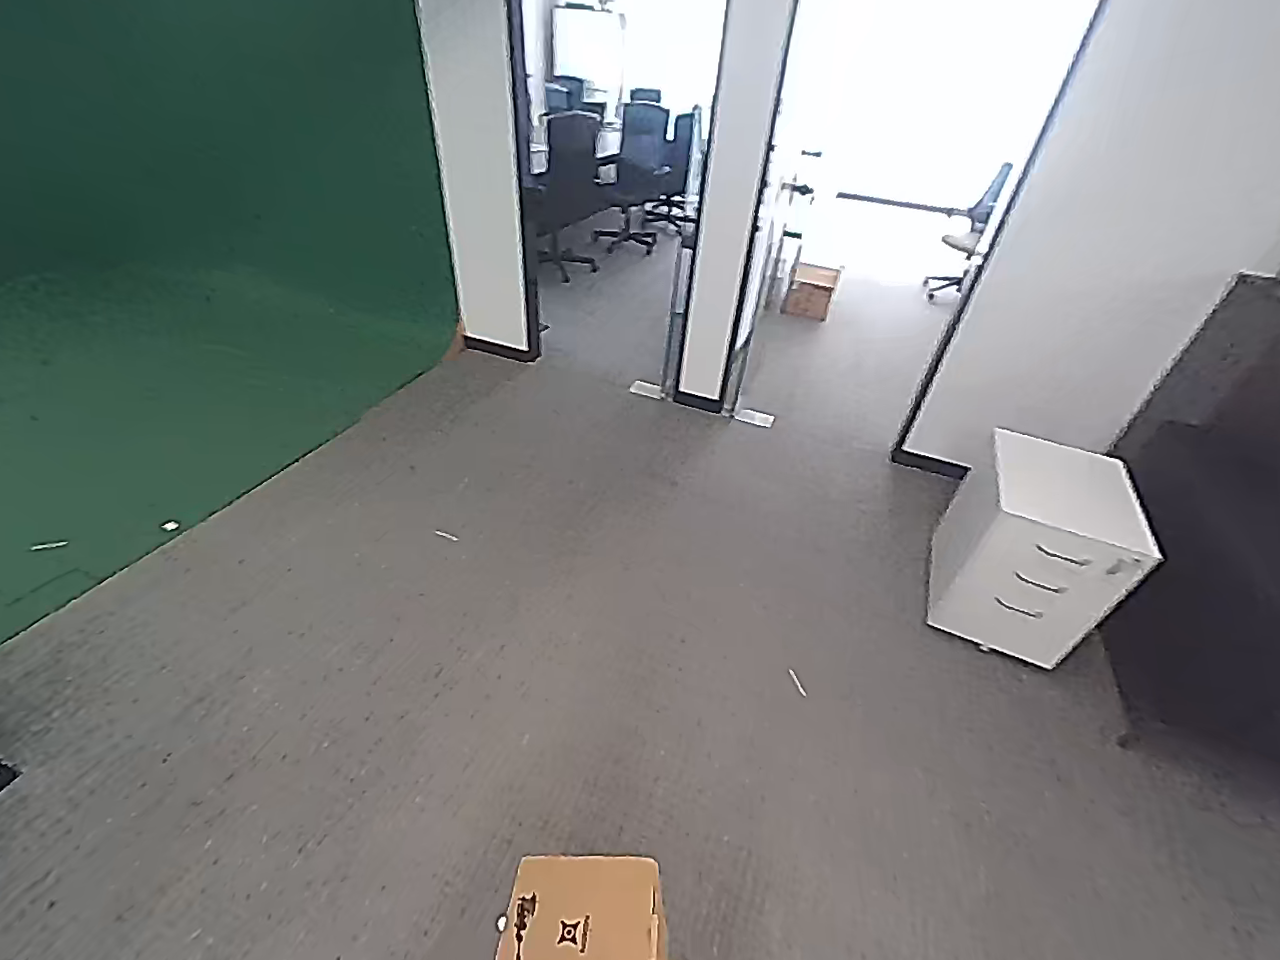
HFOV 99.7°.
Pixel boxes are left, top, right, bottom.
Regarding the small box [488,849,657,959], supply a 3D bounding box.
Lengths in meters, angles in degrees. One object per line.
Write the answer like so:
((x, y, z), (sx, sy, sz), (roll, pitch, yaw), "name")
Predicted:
((-0.071, 0.578, 0.645), (0.179, 0.176, 0.168), (-2, 25, 5), "small box")
